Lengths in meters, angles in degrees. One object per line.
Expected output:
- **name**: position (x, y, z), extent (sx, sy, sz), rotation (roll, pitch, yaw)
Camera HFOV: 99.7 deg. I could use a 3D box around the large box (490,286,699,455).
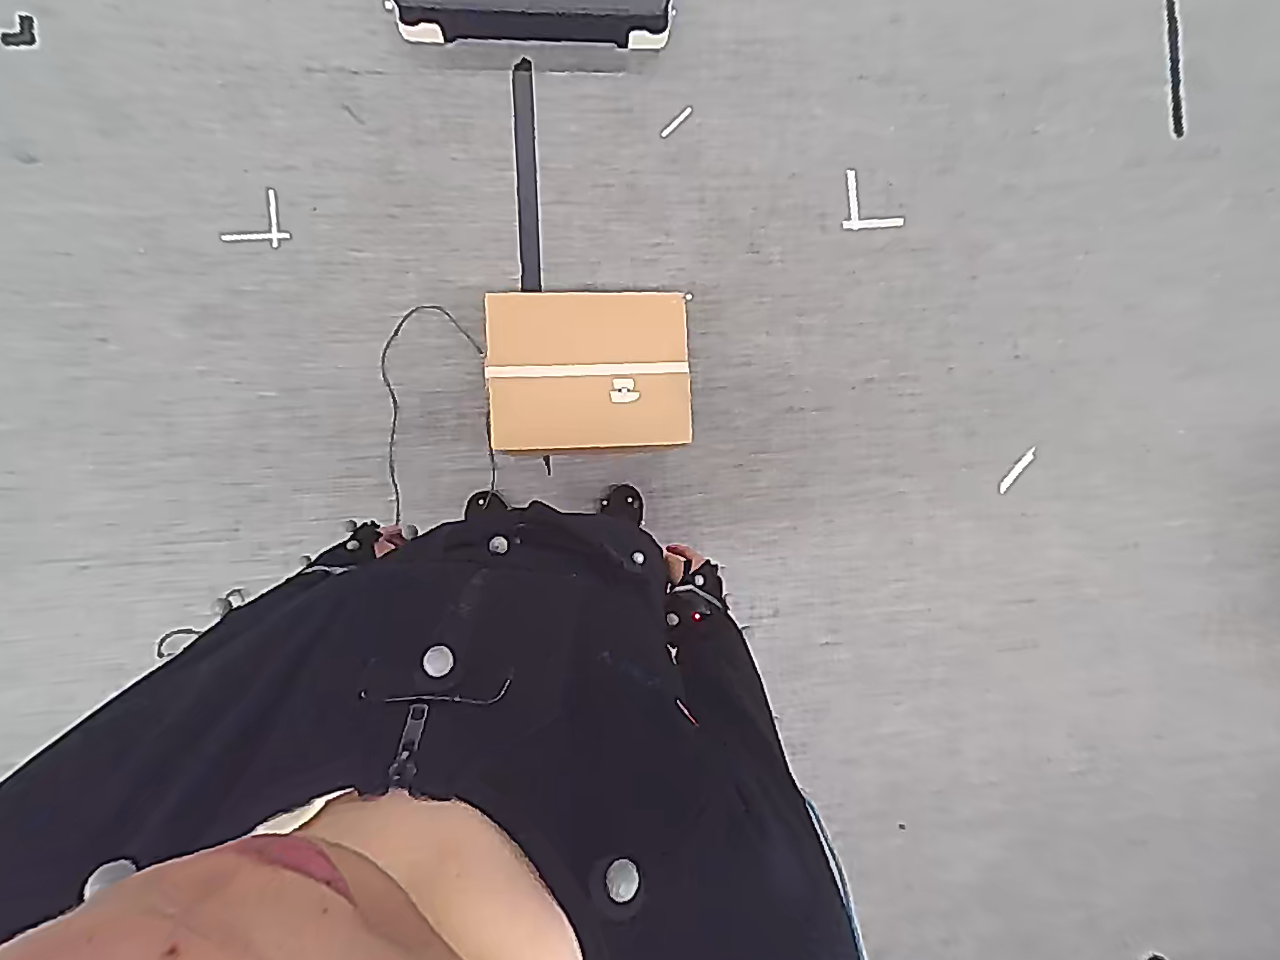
- **large box**: position (-0.105, -0.225, 1.209), extent (0.408, 0.320, 0.320), rotation (-3, 91, -7)
